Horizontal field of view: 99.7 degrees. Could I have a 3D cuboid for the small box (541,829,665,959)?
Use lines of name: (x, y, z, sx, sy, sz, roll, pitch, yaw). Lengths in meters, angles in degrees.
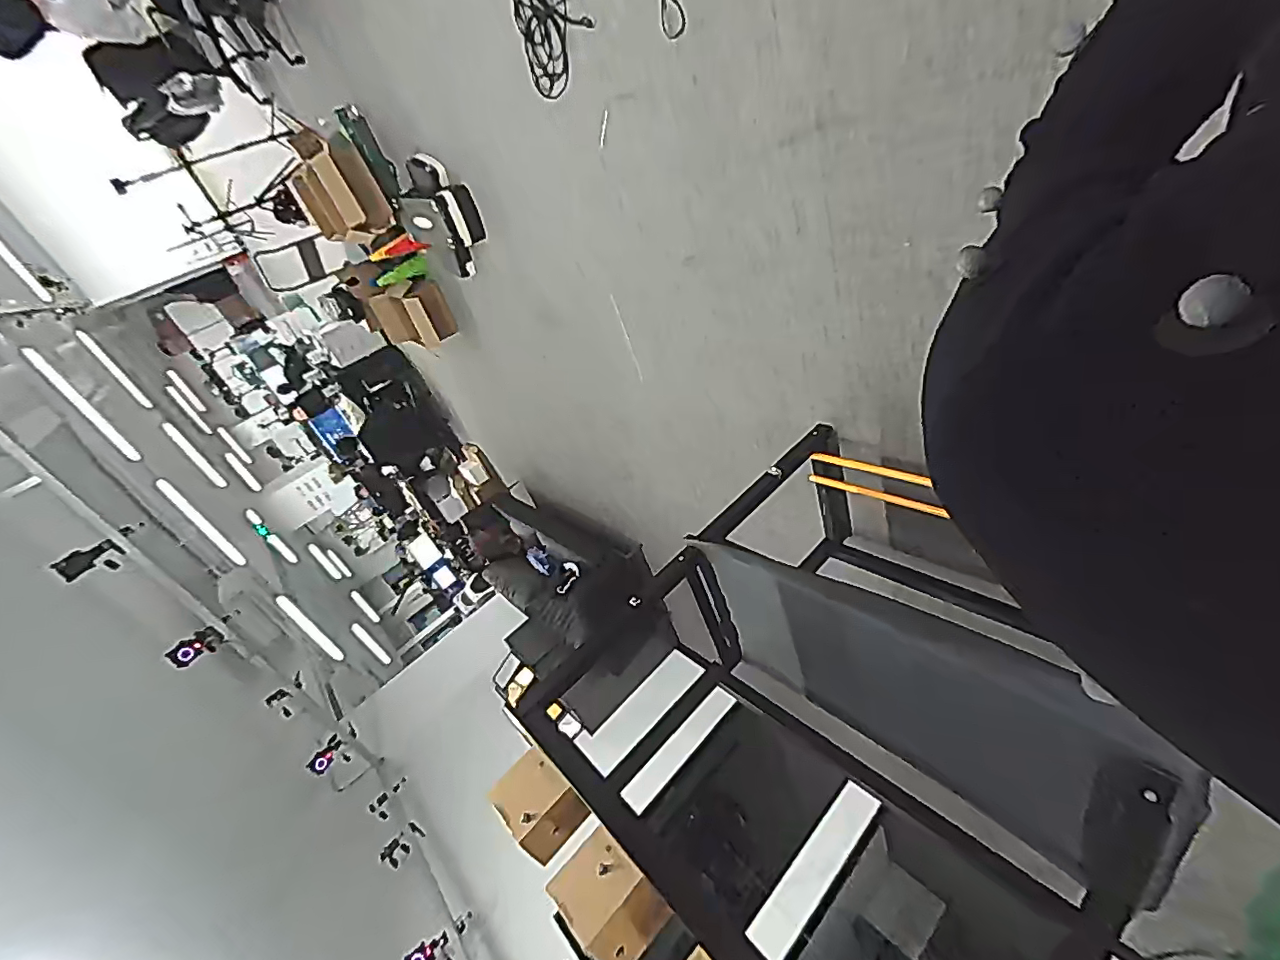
small box: (-0.073, 0.903, 1.154, 0.168, 0.176, 0.179, 15, 137, 51)
